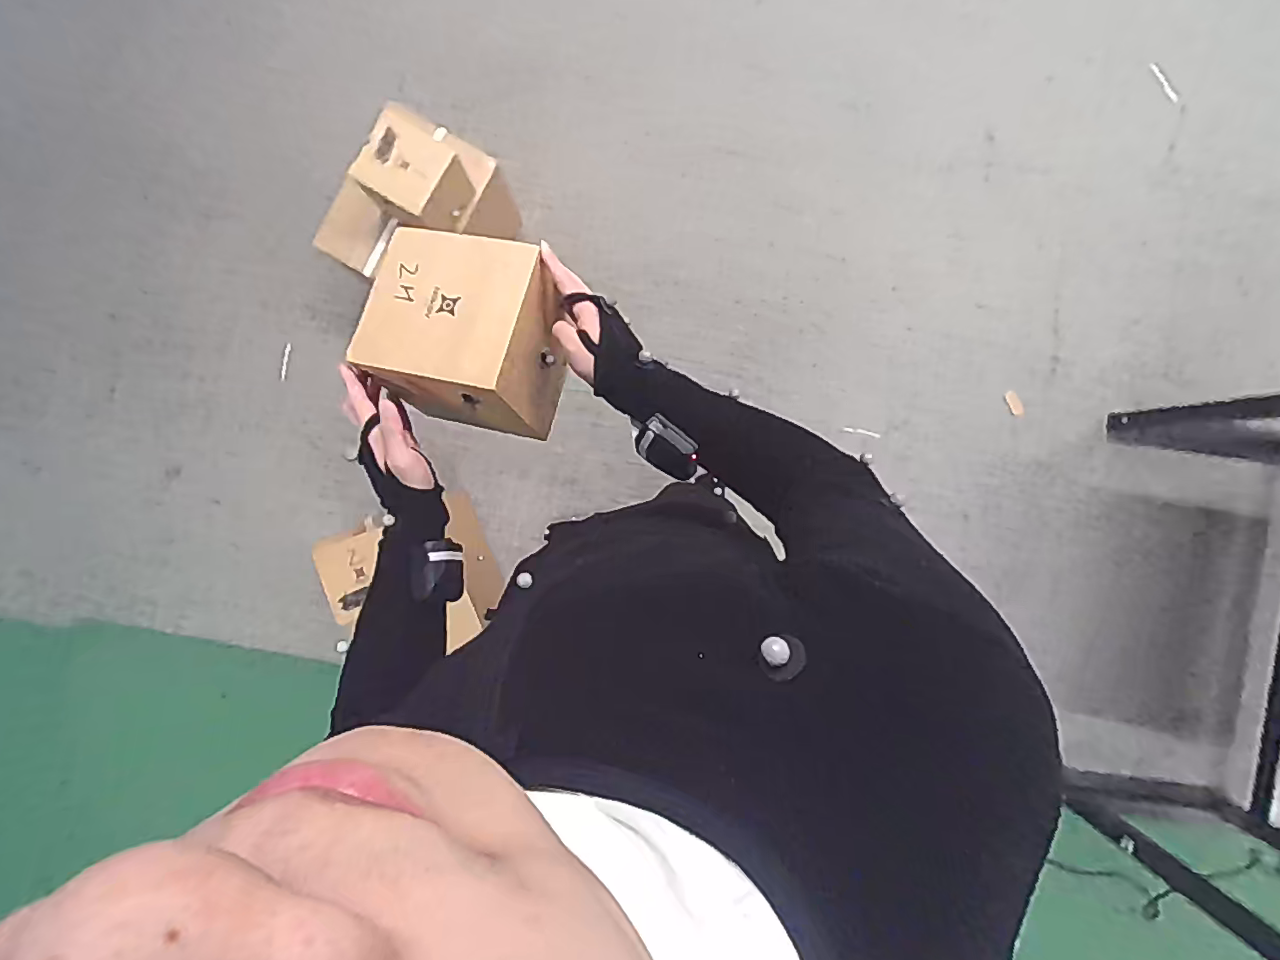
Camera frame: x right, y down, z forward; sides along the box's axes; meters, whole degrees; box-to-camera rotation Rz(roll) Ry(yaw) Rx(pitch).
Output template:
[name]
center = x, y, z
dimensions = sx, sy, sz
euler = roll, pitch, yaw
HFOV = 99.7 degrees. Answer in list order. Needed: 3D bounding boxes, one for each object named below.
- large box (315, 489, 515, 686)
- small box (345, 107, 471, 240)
[large box]
center = -0.592, 0.272, 1.494
dimensions = 0.320, 0.320, 0.408
euler = -23, 92, 1
[small box]
center = -0.517, -0.684, 1.231
dimensions = 0.179, 0.176, 0.168
euler = 31, 91, -3
